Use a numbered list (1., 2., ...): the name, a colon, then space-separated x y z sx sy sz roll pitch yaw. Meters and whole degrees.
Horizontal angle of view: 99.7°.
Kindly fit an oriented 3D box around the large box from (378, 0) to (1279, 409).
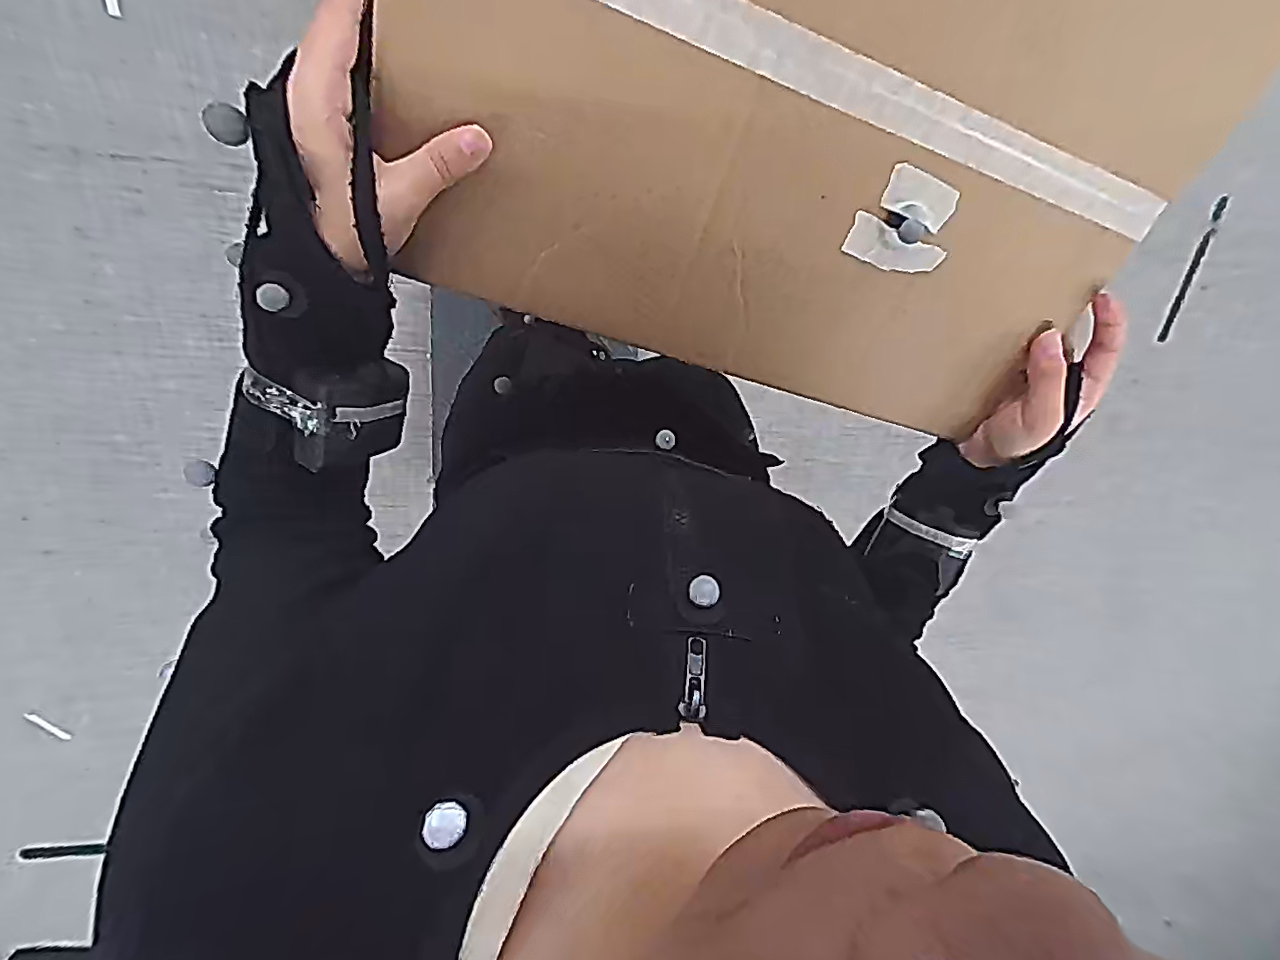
1. large box: 0.077 -0.296 0.374 0.408 0.320 0.320 13 127 -15
